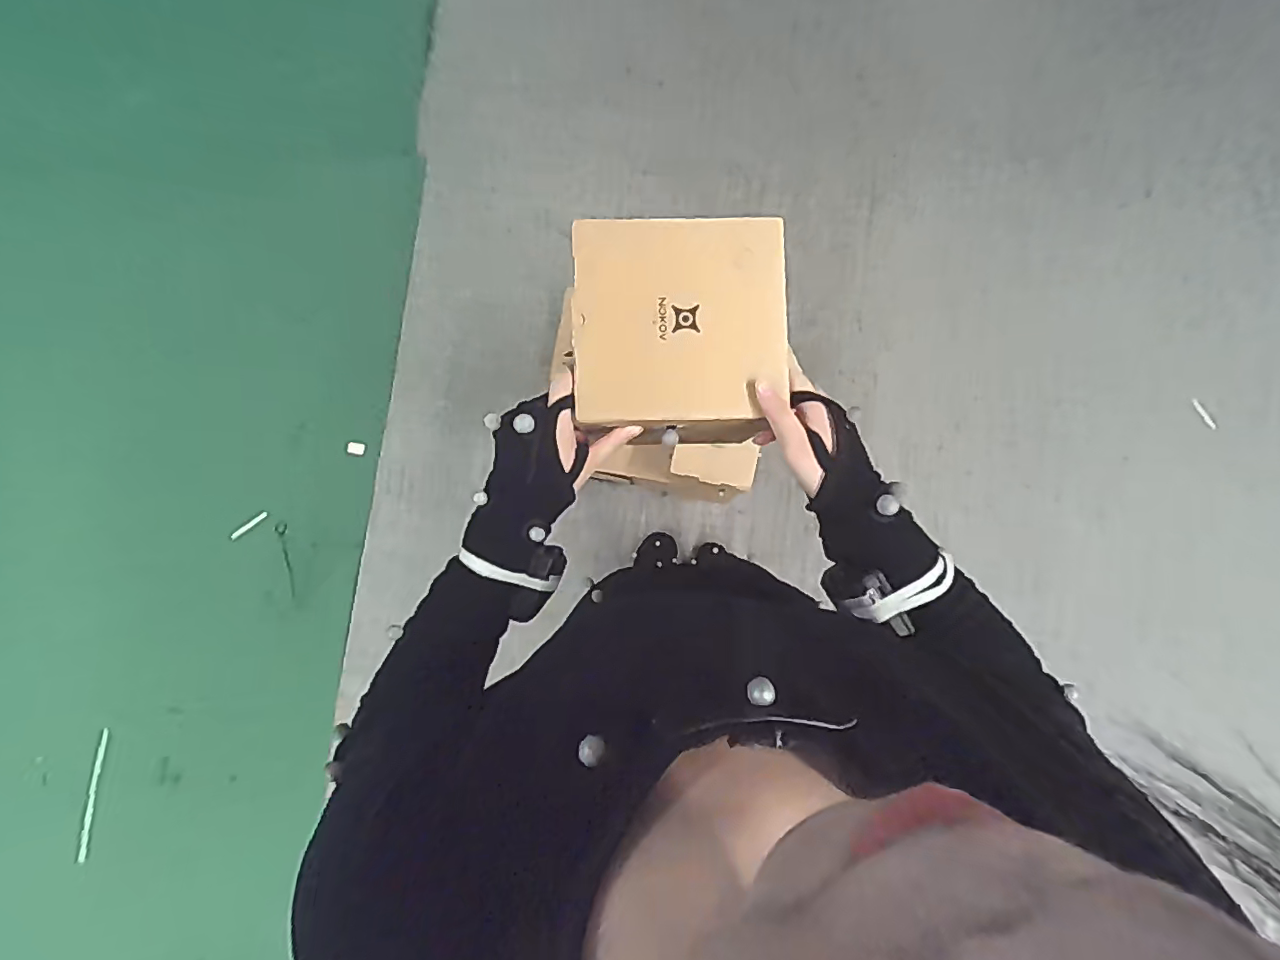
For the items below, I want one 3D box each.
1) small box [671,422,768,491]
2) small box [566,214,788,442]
[{"bbox_3d":[0.163,-0.081,1.136,0.168,0.176,0.179,14,84,1],"label":"small box"},{"bbox_3d":[0.027,-0.127,0.510,0.179,0.176,0.168,-2,87,0],"label":"small box"}]
